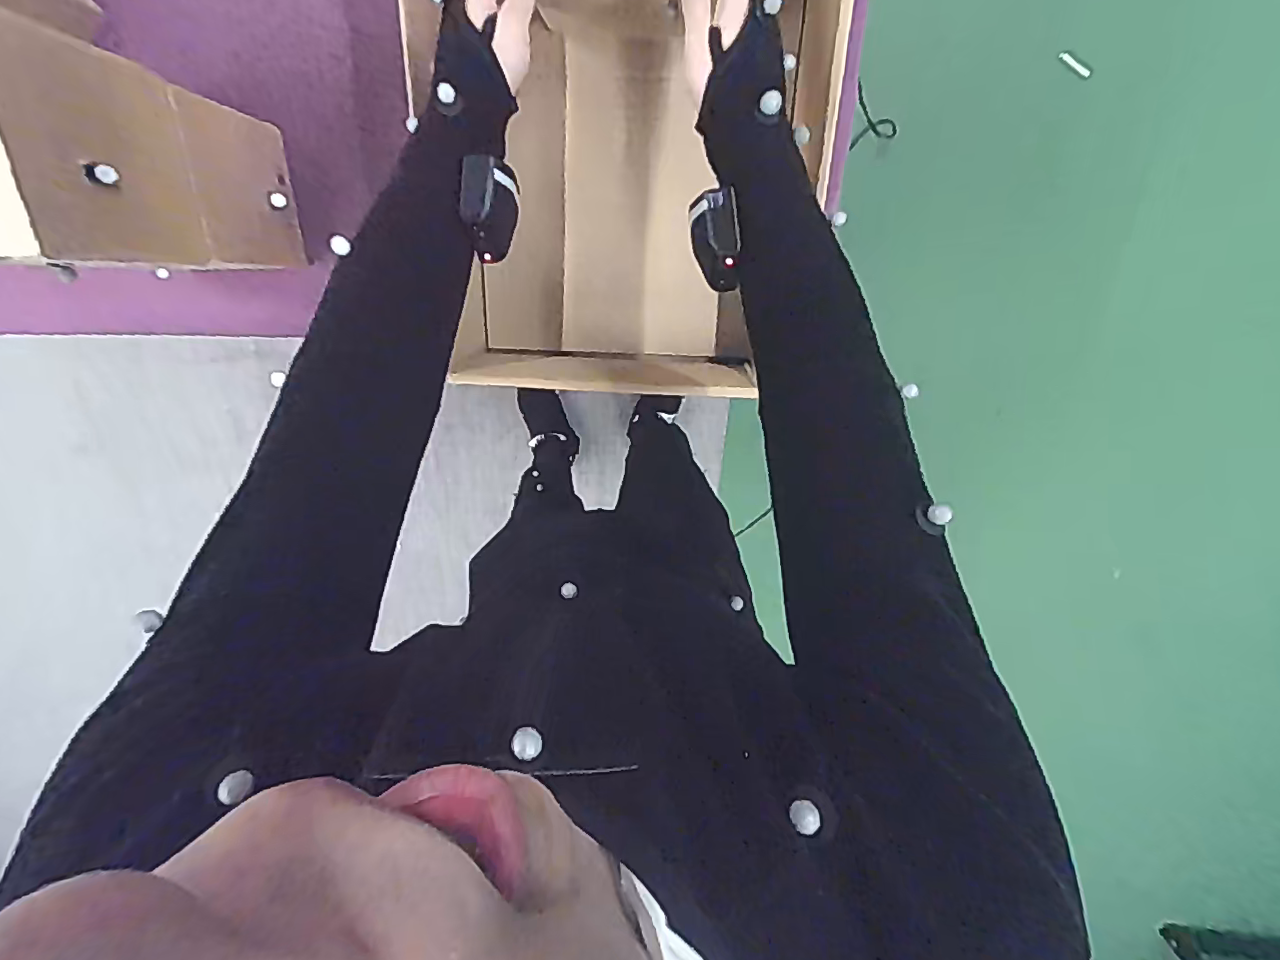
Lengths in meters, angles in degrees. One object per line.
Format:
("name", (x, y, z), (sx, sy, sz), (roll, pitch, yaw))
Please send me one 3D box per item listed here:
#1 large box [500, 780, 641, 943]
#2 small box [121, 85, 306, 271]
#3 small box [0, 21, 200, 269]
("large box", (-0.241, 1.406, 2.009), (0.408, 0.320, 0.320), (-27, 109, 11))
("small box", (-0.537, -0.334, 0.629), (0.179, 0.176, 0.168), (0, 110, 1))
("small box", (-0.542, -0.282, 0.474), (0.168, 0.176, 0.179), (1, 111, 1))
